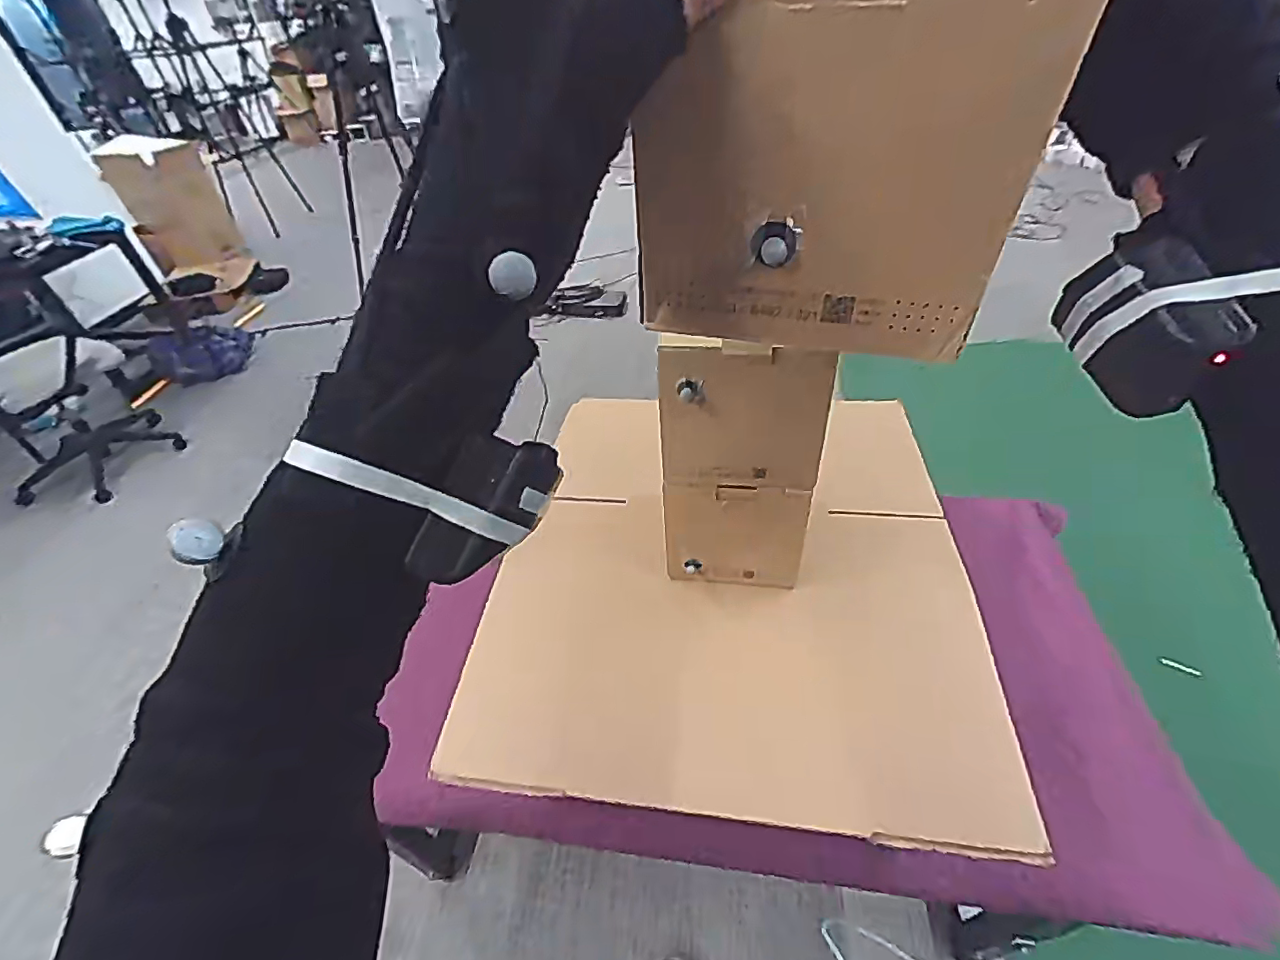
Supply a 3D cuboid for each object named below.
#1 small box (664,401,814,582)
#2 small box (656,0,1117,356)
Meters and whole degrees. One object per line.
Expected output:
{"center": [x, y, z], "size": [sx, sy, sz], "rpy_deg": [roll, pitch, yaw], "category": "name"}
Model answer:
{"center": [0.123, 0.016, 0.704], "size": [0.168, 0.176, 0.179], "rpy_deg": [1, 43, 7], "category": "small box"}
{"center": [0.106, -0.192, 0.292], "size": [0.168, 0.176, 0.179], "rpy_deg": [10, 48, 14], "category": "small box"}
